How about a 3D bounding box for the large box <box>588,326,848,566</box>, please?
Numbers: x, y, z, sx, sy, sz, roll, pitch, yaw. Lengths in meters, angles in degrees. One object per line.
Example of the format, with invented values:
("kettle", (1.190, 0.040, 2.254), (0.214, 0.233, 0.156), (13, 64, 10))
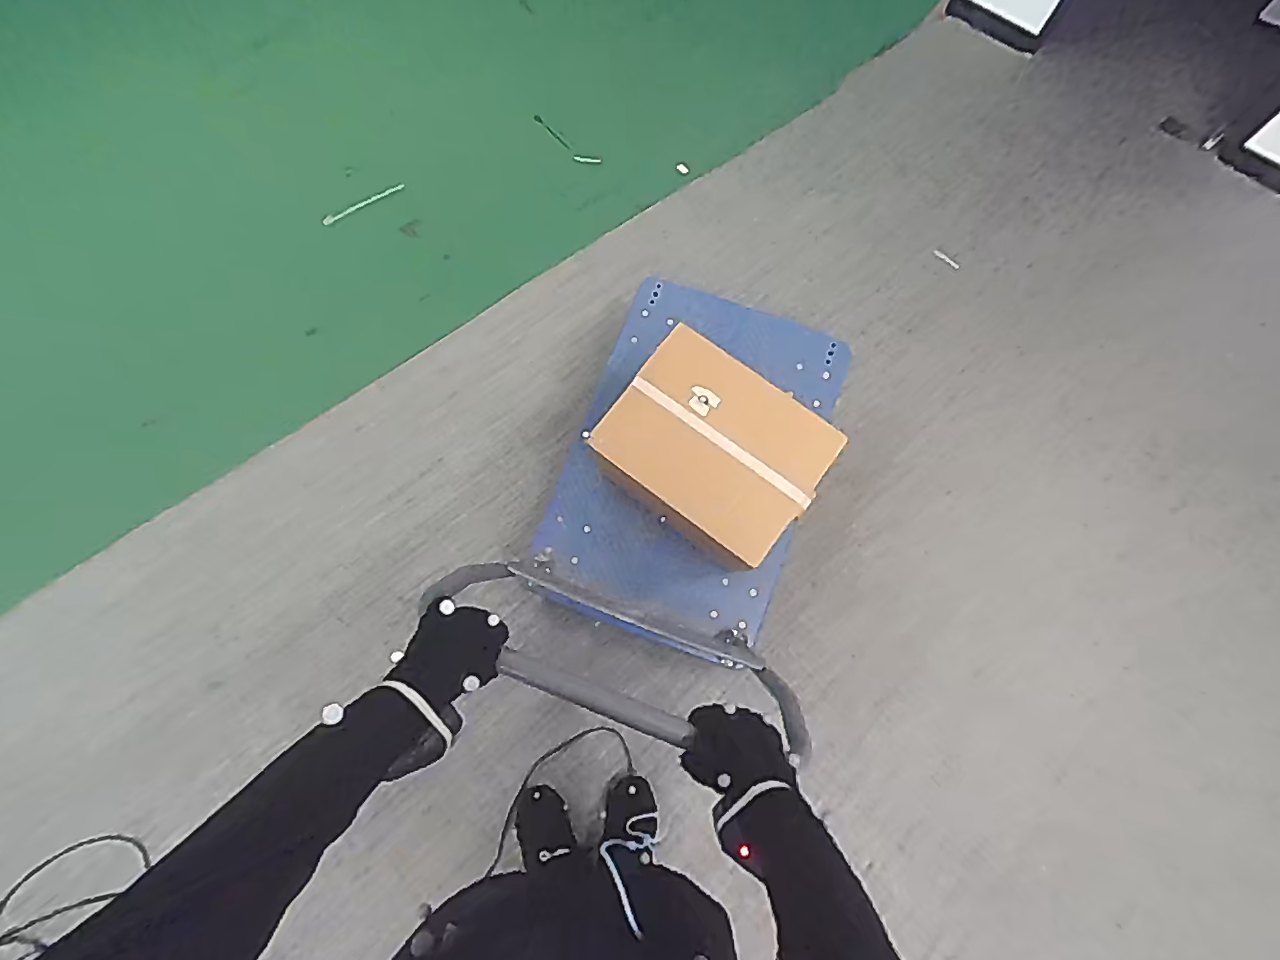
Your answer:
("large box", (0.157, -0.050, 1.175), (0.408, 0.320, 0.320), (36, 83, 9))
